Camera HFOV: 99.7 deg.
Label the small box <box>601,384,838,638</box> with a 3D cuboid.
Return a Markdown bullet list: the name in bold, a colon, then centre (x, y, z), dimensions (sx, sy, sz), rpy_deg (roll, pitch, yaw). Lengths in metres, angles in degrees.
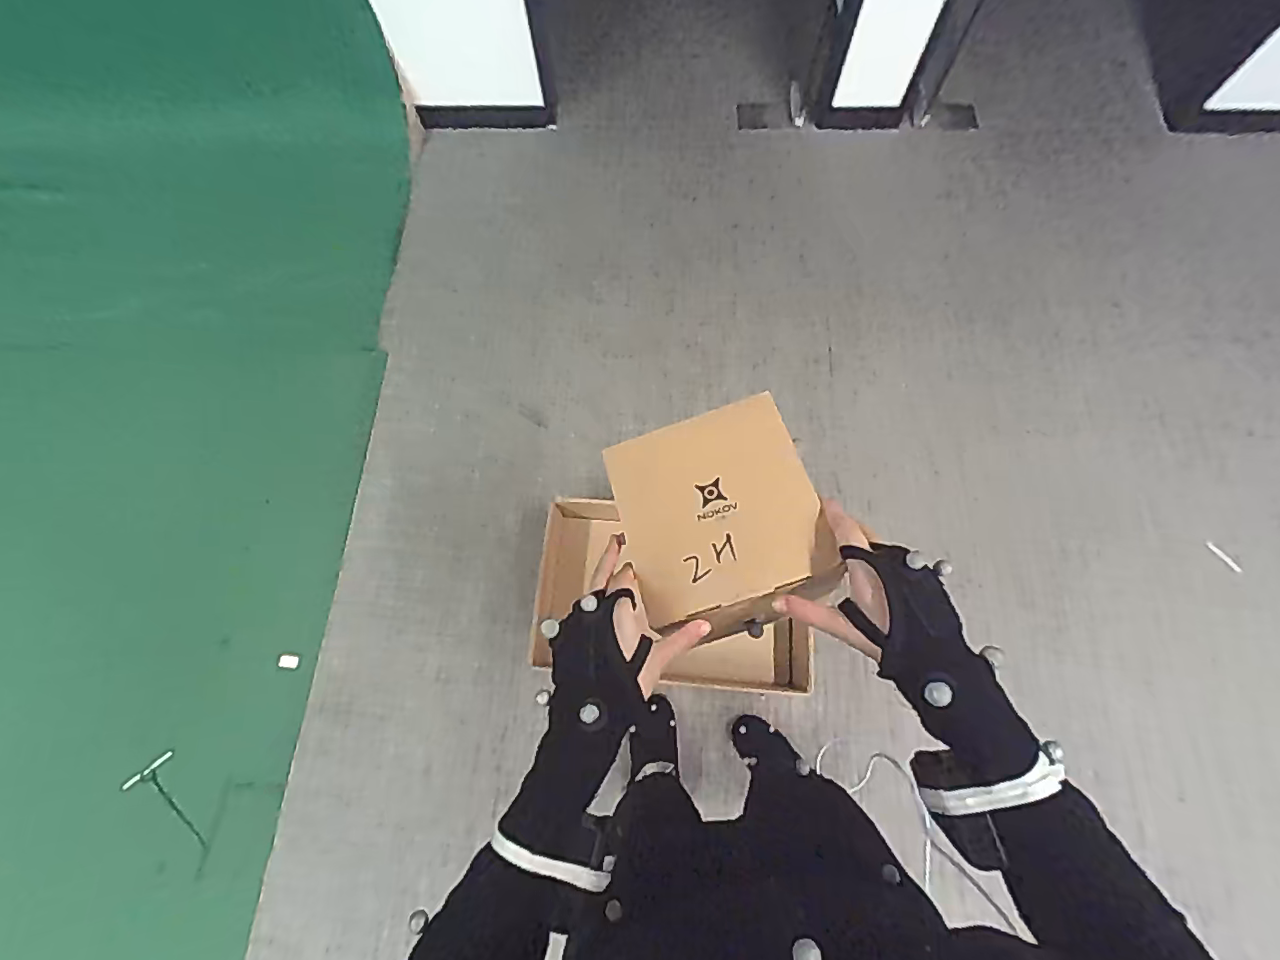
- **small box**: centre (0.077, 0.041, 0.537), dimensions (0.168, 0.176, 0.179), rpy_deg (-20, 64, 7)
